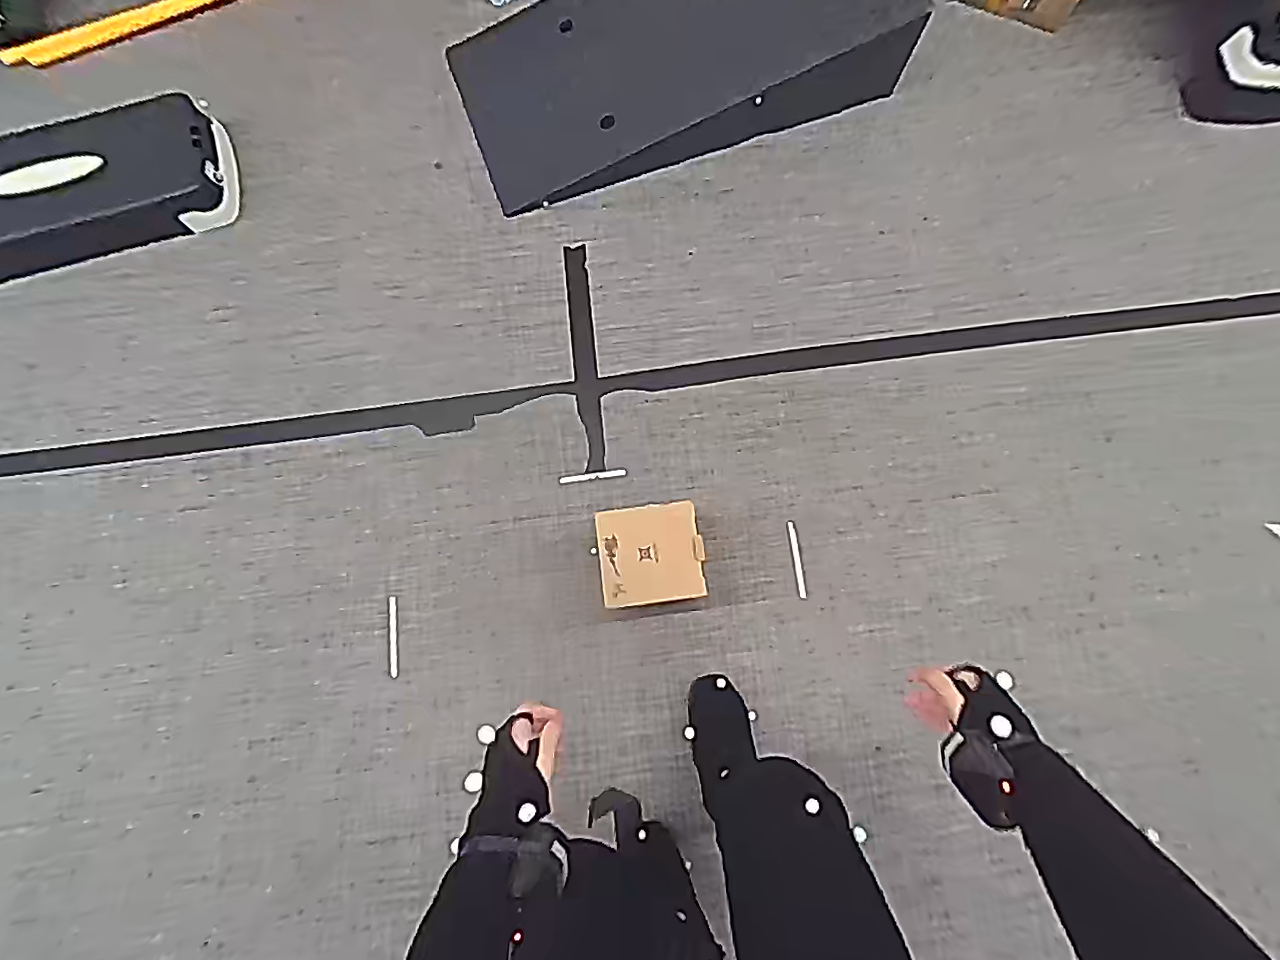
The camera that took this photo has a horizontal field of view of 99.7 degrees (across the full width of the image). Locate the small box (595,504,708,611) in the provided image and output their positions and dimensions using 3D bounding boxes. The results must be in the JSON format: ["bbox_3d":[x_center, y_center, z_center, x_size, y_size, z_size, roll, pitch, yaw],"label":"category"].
[{"bbox_3d":[0.015,0.142,0.979,0.179,0.176,0.168,-7,78,-2],"label":"small box"}]
